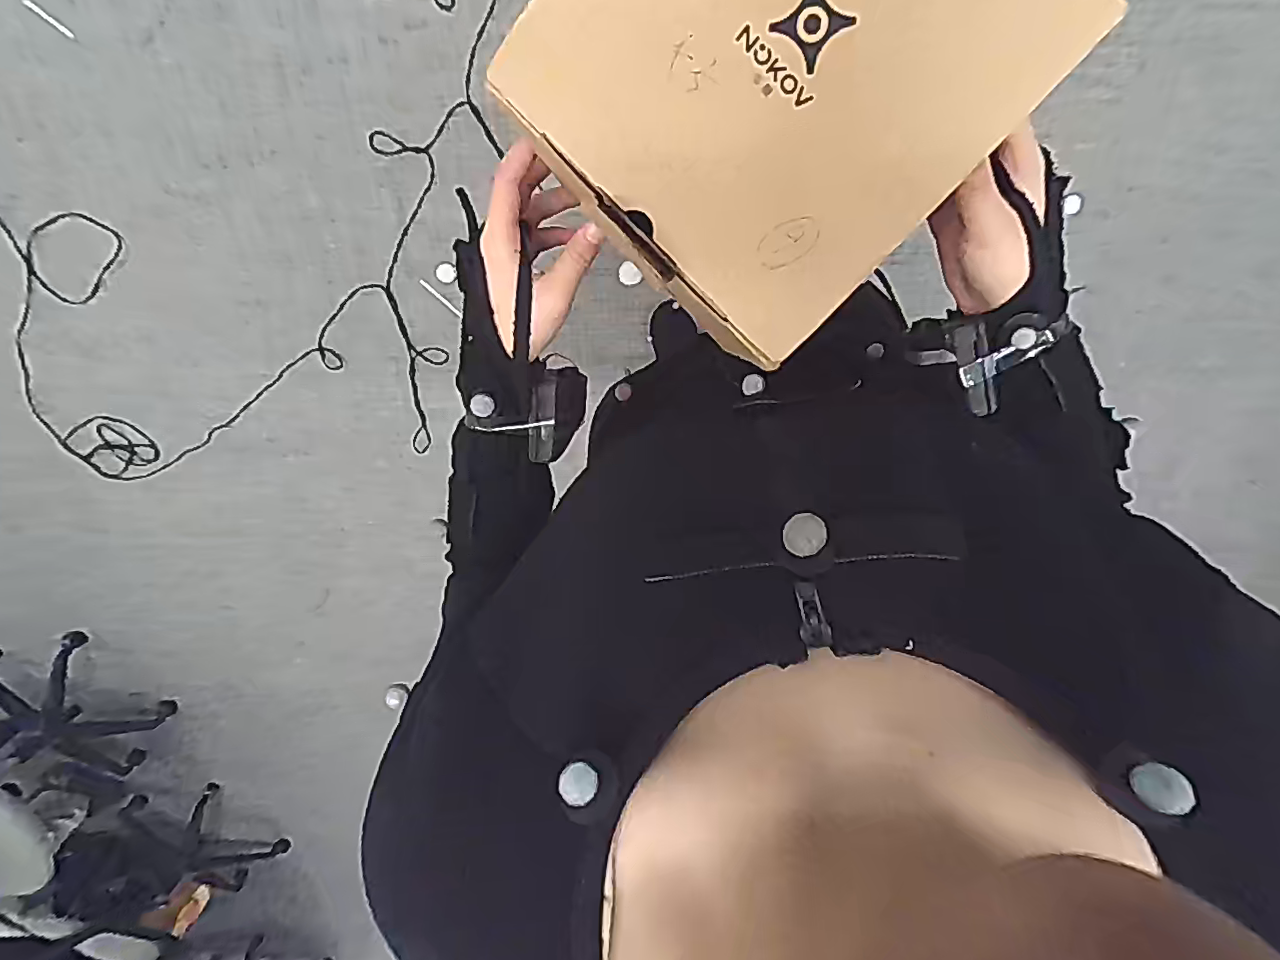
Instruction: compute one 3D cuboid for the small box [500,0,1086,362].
[{"bbox_3d":[0.062,-0.186,0.293,0.168,0.176,0.179,42,104,-8],"label":"small box"}]
